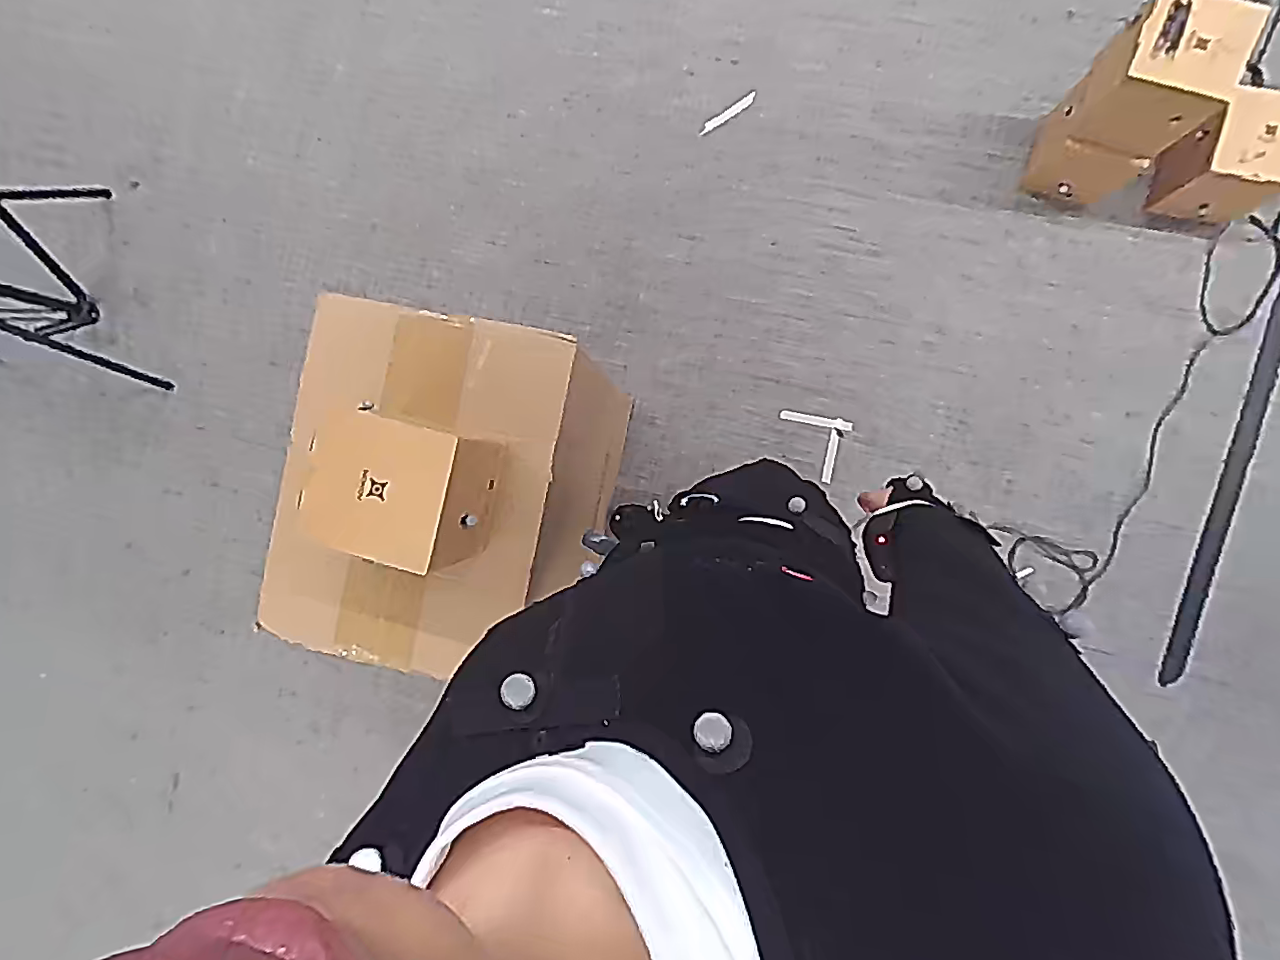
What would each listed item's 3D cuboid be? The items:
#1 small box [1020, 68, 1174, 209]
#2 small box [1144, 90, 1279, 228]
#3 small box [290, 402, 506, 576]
[{"bbox_3d":[0.975,-0.730,1.172,0.168,0.176,0.179,21,94,7],"label":"small box"},{"bbox_3d":[1.231,-0.670,1.142,0.168,0.176,0.179,15,92,8],"label":"small box"},{"bbox_3d":[-0.290,0.008,0.686,0.179,0.176,0.168,14,92,6],"label":"small box"}]
